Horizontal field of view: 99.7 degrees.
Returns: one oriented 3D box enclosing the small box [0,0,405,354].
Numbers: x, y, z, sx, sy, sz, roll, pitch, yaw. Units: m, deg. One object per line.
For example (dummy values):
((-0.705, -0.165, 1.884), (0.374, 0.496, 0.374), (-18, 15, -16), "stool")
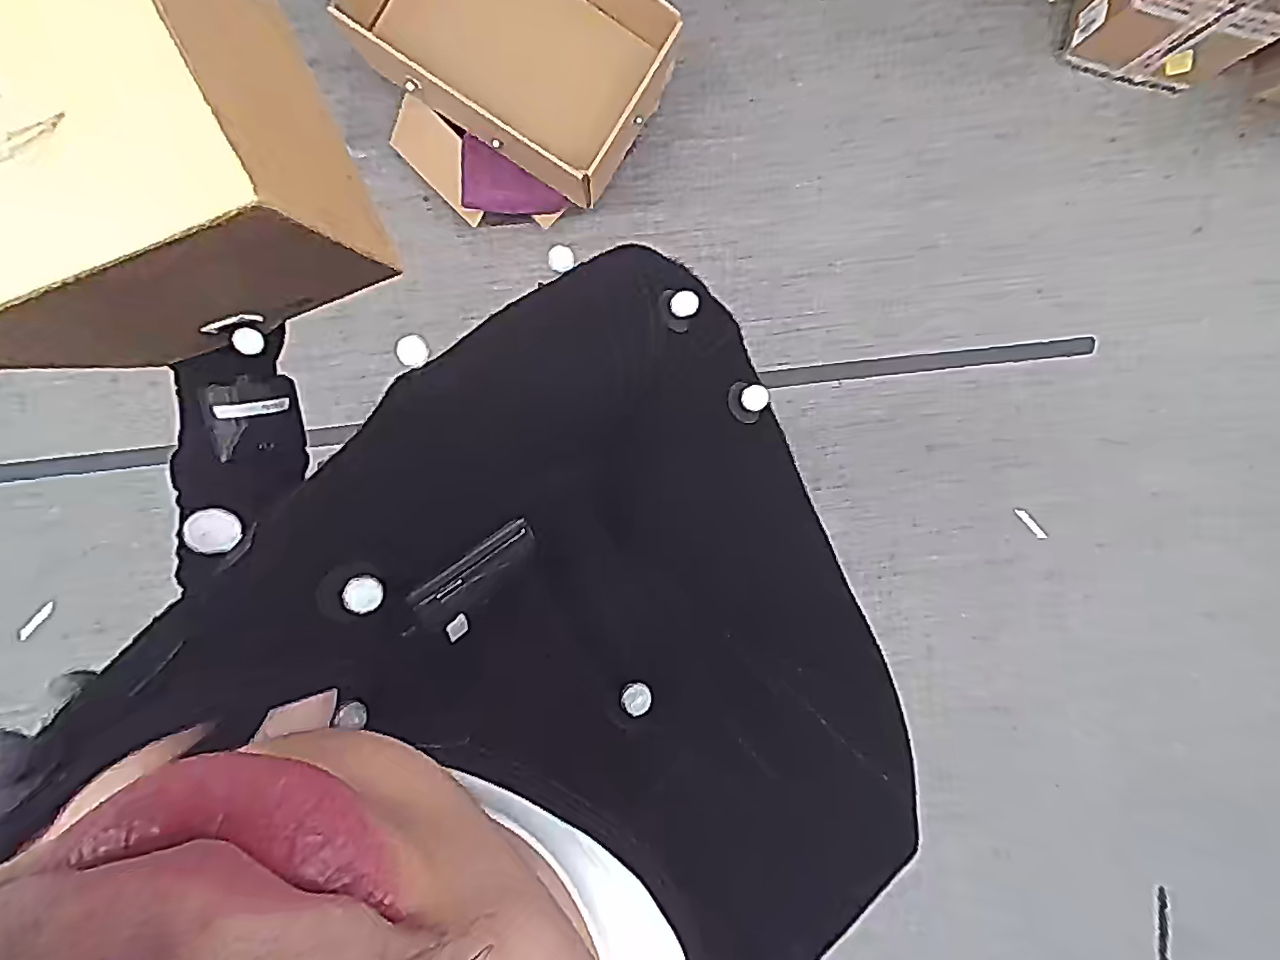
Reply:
((-0.248, -0.170, 0.261), (0.168, 0.176, 0.179), (-23, 105, 0), "small box")
